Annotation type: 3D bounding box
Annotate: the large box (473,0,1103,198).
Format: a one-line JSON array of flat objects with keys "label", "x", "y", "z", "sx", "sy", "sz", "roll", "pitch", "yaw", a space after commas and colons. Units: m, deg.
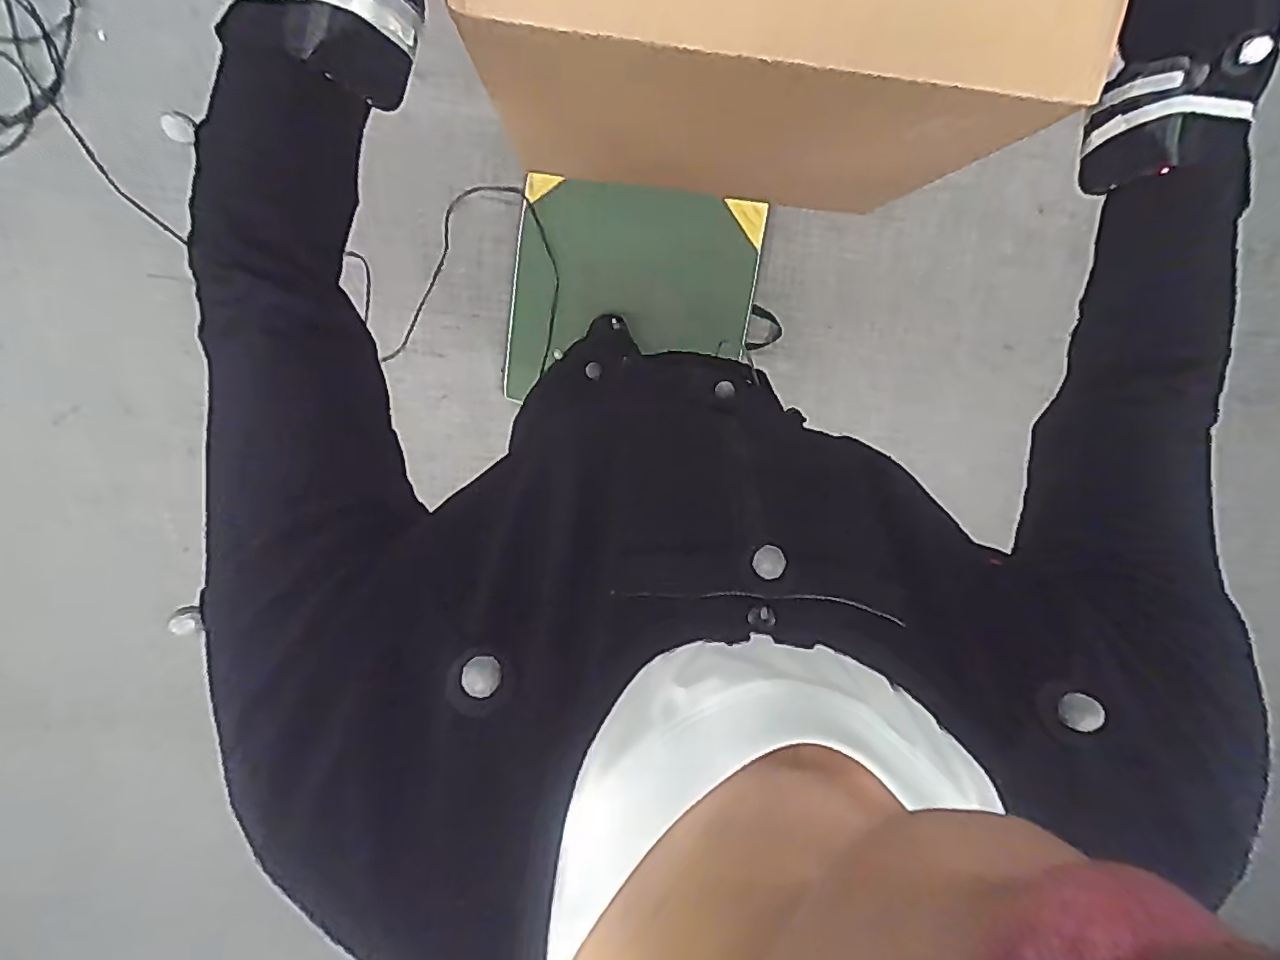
[{"label": "large box", "x": 0.091, "y": -0.452, "z": 0.442, "sx": 0.408, "sy": 0.320, "sz": 0.320, "roll": 4, "pitch": 105, "yaw": -6}]
